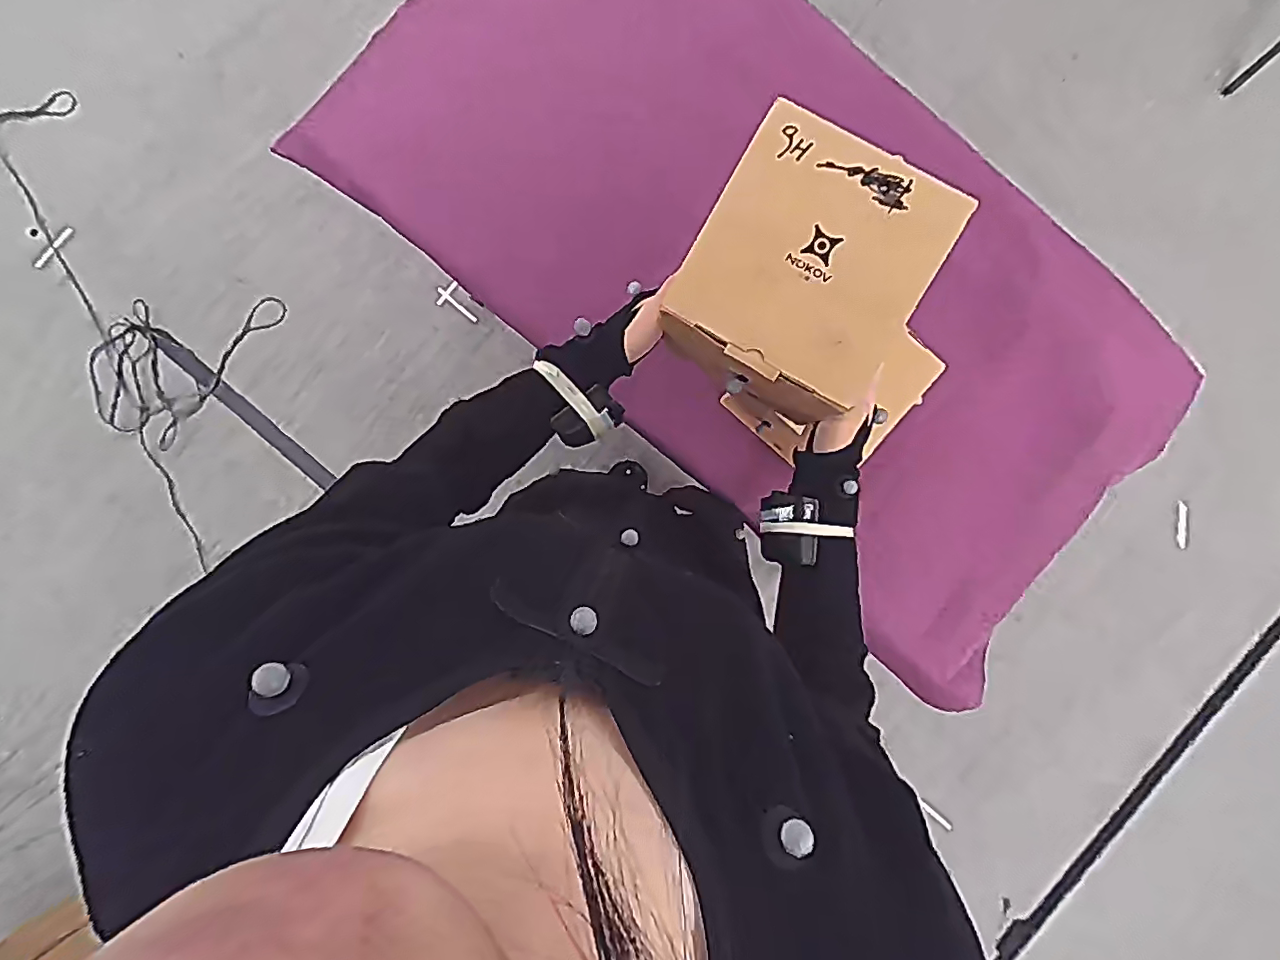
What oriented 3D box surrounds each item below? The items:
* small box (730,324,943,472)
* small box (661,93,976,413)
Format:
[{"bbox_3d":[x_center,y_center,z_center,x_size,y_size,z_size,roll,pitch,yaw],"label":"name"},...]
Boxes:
[{"bbox_3d":[0.234,-0.124,0.701,0.168,0.176,0.179,41,89,-2],"label":"small box"},{"bbox_3d":[0.136,-0.171,0.474,0.168,0.176,0.179,30,96,2],"label":"small box"}]
